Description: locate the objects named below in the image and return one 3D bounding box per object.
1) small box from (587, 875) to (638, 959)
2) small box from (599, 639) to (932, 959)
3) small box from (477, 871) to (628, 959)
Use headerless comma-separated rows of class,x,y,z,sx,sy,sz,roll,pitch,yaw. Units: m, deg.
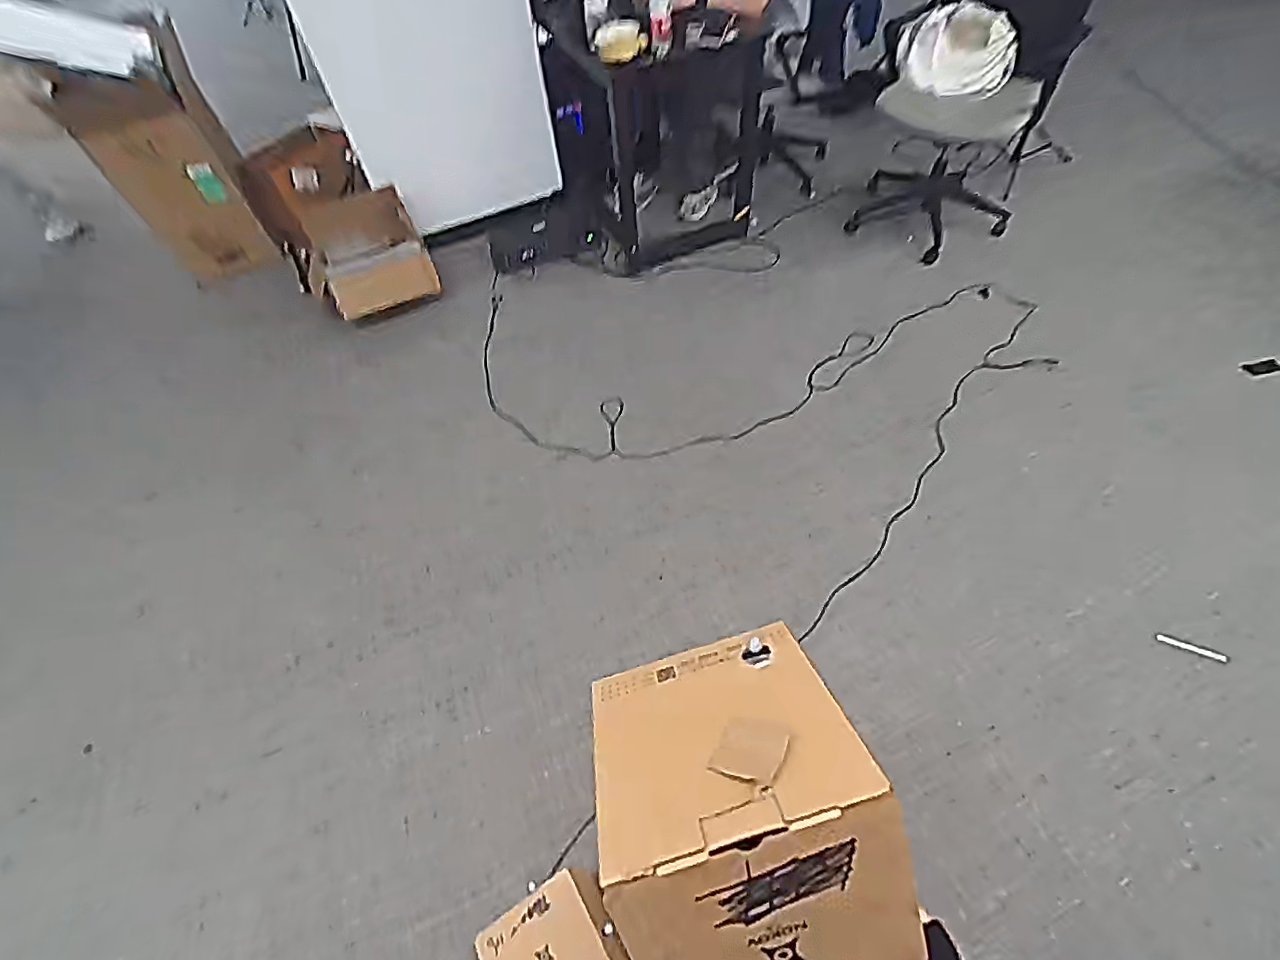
small box,-0.114,0.859,0.989,0.168,0.176,0.179,-26,56,-13
small box,0.073,0.237,0.382,0.168,0.179,0.176,-18,19,-1
small box,-0.128,0.760,0.859,0.168,0.176,0.179,-30,58,-16
